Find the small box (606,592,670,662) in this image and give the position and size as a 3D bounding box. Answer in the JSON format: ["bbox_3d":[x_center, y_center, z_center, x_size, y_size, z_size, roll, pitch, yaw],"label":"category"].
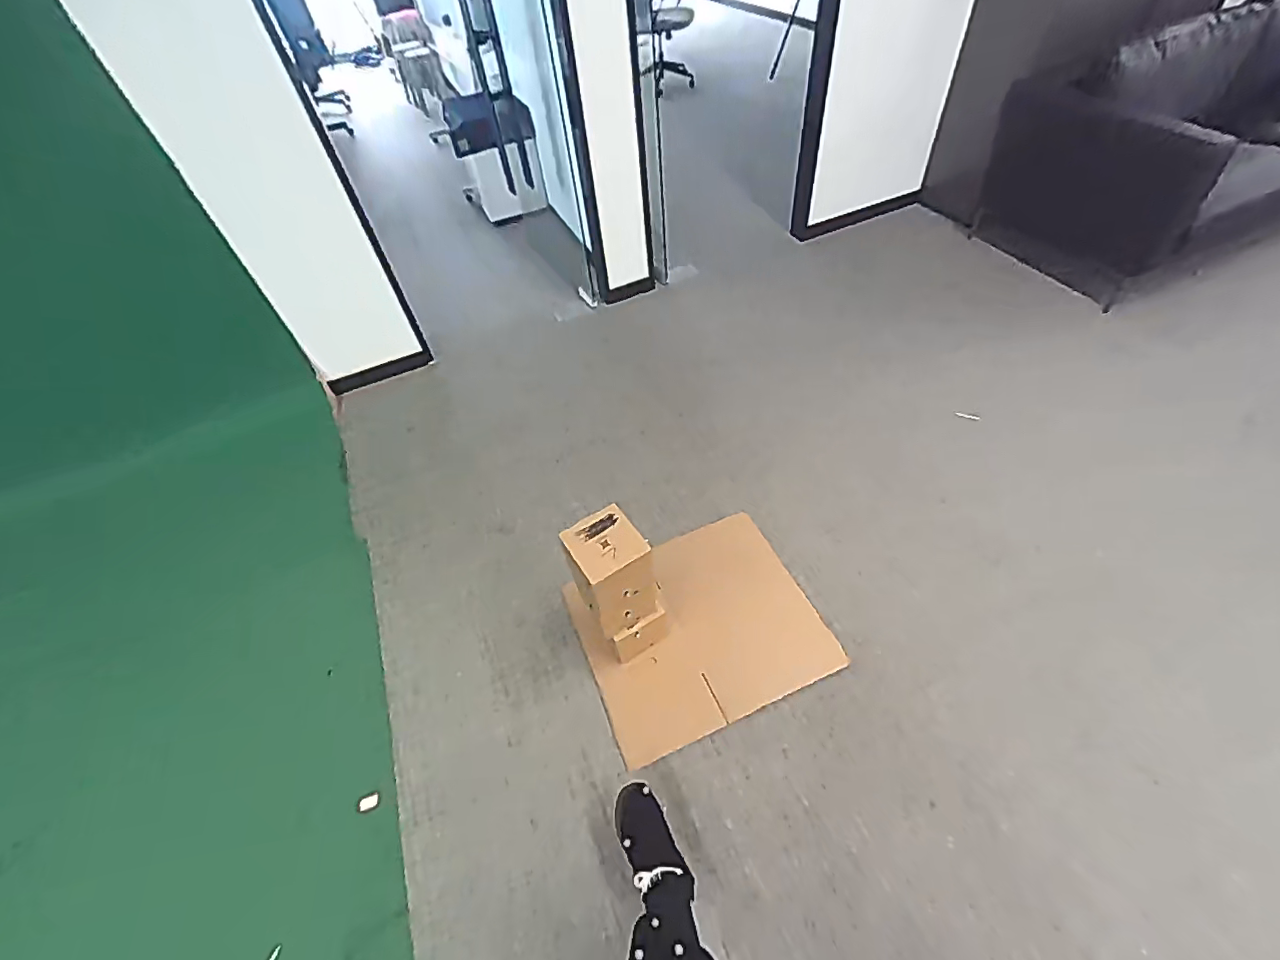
[{"bbox_3d":[-0.026,0.405,1.606,0.168,0.176,0.179,-27,52,-15],"label":"small box"}]

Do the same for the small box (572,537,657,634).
[{"bbox_3d":[-0.065,0.297,1.485,0.168,0.176,0.179,-26,52,-15],"label":"small box"}]
